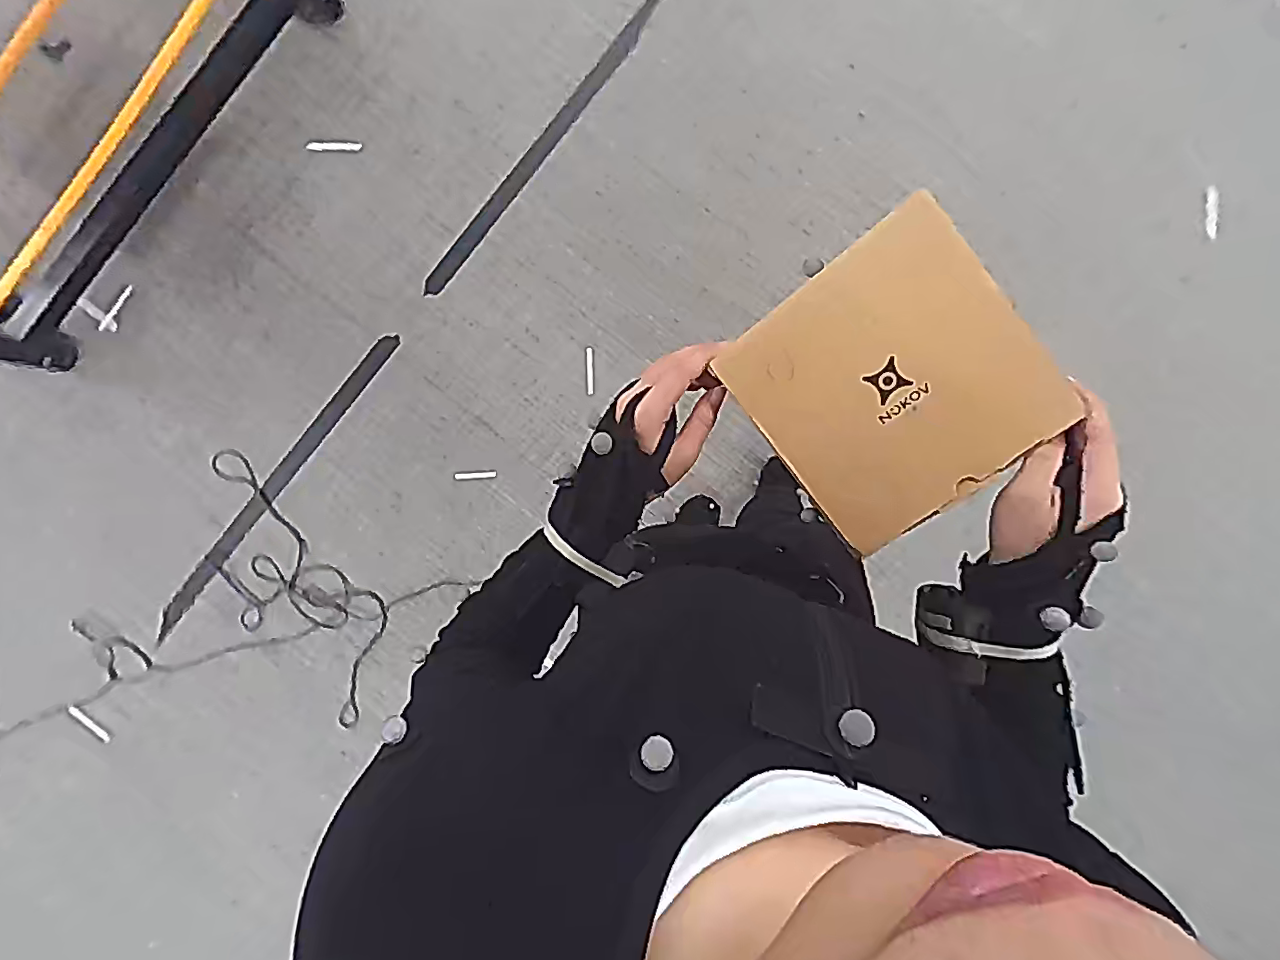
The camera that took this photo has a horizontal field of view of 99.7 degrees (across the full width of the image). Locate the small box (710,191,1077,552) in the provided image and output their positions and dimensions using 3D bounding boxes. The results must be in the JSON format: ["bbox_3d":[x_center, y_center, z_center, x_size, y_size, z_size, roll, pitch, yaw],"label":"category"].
[{"bbox_3d":[0.170,-0.077,0.427,0.168,0.176,0.179,-38,94,14],"label":"small box"}]
